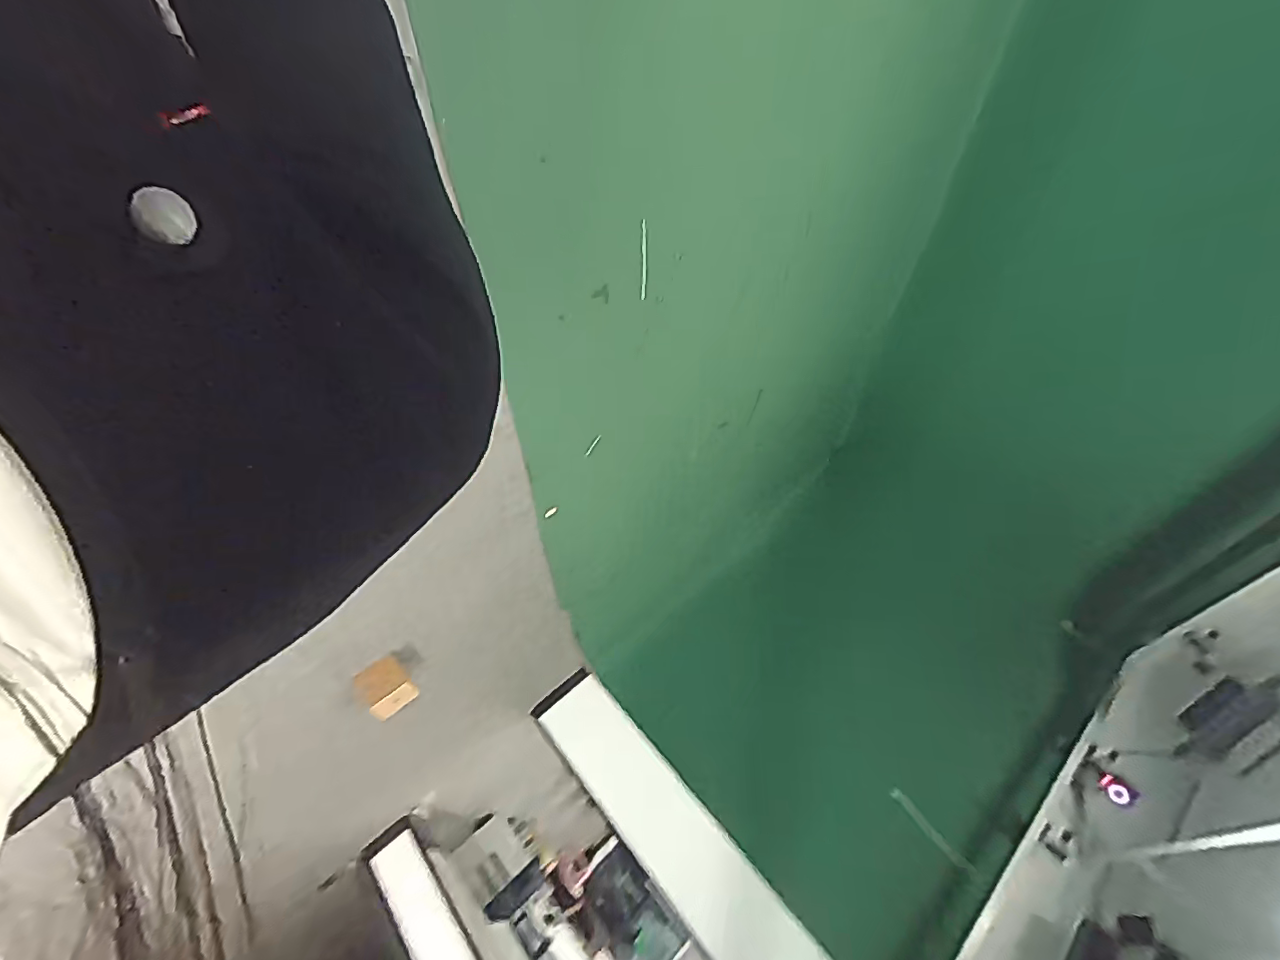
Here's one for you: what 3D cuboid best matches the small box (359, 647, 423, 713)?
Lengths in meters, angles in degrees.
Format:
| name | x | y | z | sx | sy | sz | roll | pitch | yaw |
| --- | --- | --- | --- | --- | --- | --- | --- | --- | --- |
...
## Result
| name | x | y | z | sx | sy | sz | roll | pitch | yaw |
| --- | --- | --- | --- | --- | --- | --- | --- | --- | --- |
| small box | -1.072 | 0.856 | 2.317 | 0.179 | 0.176 | 0.168 | -36 | 149 | -24 |
